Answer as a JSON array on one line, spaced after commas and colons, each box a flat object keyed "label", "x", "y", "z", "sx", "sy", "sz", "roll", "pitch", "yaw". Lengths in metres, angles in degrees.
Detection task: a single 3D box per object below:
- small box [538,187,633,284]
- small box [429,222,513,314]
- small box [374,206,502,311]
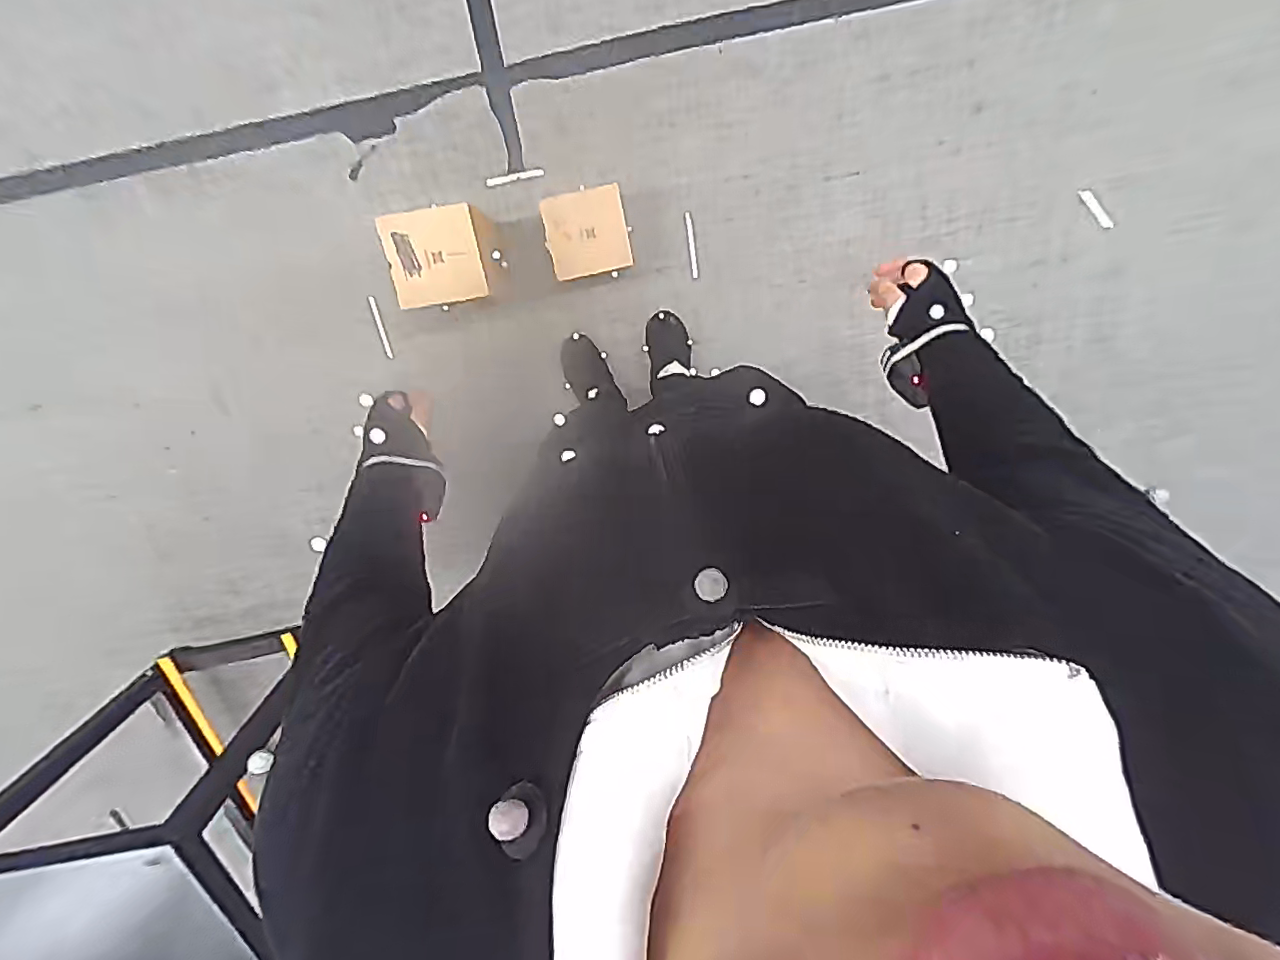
[{"label": "small box", "x": -0.120, "y": -0.550, "z": 1.228, "sx": 0.179, "sy": 0.176, "sz": 0.168, "roll": -12, "pitch": 111, "yaw": 1}, {"label": "small box", "x": -0.400, "y": -0.488, "z": 1.236, "sx": 0.168, "sy": 0.176, "sz": 0.179, "roll": -9, "pitch": 112, "yaw": 0}, {"label": "small box", "x": -0.390, "y": -0.436, "z": 1.078, "sx": 0.179, "sy": 0.176, "sz": 0.168, "roll": -9, "pitch": 111, "yaw": 0}]
